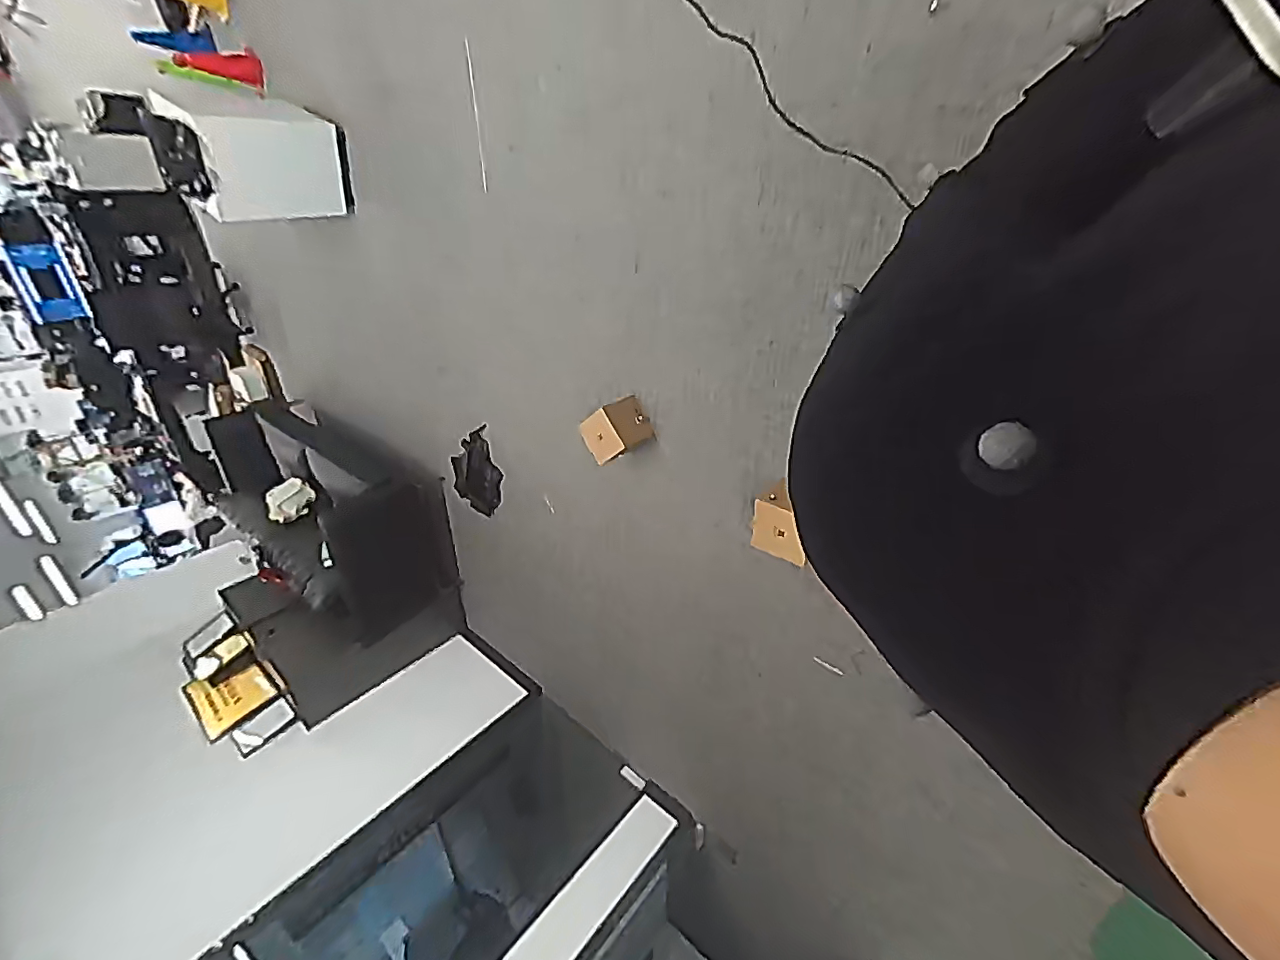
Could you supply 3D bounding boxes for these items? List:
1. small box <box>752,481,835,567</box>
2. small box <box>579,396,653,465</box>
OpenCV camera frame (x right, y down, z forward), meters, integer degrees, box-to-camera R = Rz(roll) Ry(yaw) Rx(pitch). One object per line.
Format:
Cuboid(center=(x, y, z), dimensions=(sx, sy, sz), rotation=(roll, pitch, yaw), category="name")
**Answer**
Cuboid(center=(0.452, 0.122, 1.588), dimensions=(0.179, 0.176, 0.168), rotation=(22, 126, 36), category="small box")
Cuboid(center=(-0.084, -0.180, 1.956), dimensions=(0.179, 0.176, 0.168), rotation=(-32, 89, 48), category="small box")
